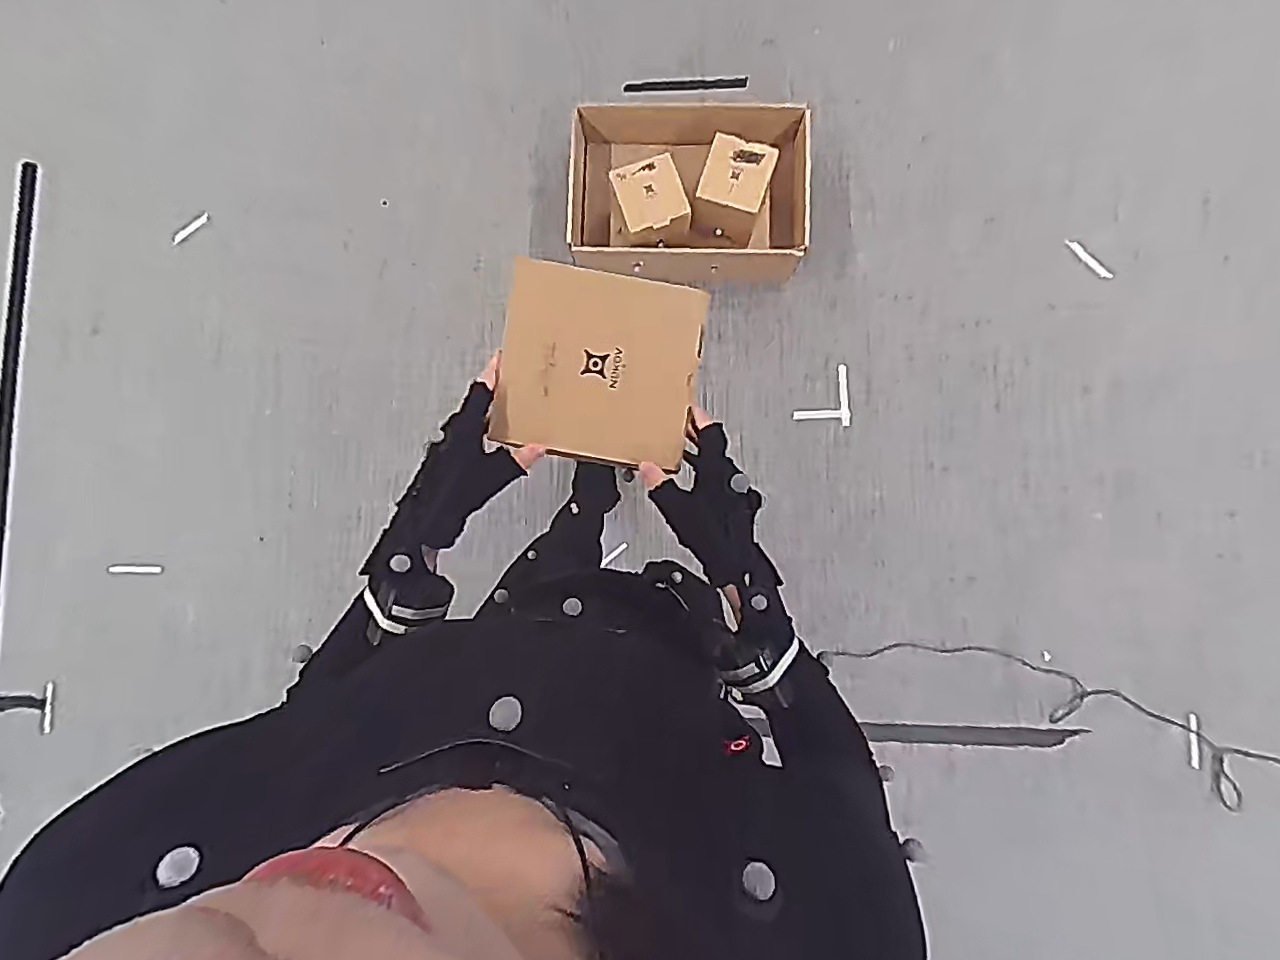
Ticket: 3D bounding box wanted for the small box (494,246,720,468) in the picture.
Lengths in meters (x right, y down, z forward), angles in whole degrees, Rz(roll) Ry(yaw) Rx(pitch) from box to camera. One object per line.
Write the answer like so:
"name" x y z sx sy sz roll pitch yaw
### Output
"small box" -0.032 -0.106 0.546 0.179 0.176 0.168 9 88 -3
